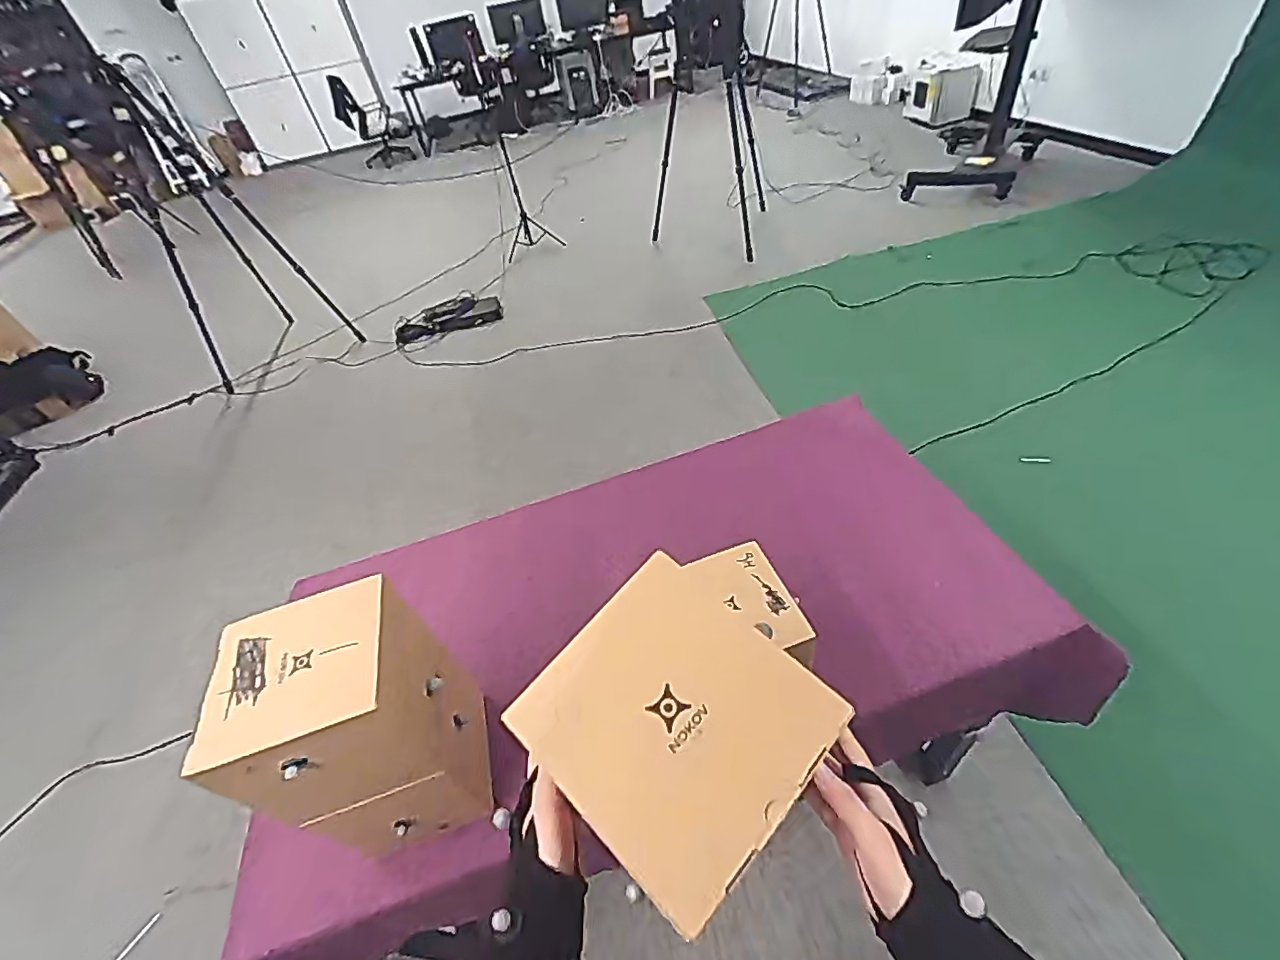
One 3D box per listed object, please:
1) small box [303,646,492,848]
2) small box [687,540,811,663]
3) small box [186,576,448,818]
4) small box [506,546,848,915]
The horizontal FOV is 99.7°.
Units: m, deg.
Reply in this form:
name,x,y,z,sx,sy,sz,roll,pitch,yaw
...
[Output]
name,x,y,z,sx,sy,sz,roll,pitch,yaw
small box,-0.305,0.357,0.715,0.168,0.176,0.179,-18,44,-6
small box,0.119,0.220,0.753,0.179,0.176,0.168,-20,45,-6
small box,-0.332,0.242,0.600,0.179,0.176,0.168,-18,45,-7
small box,0.028,0.191,0.433,0.179,0.176,0.168,38,70,24
